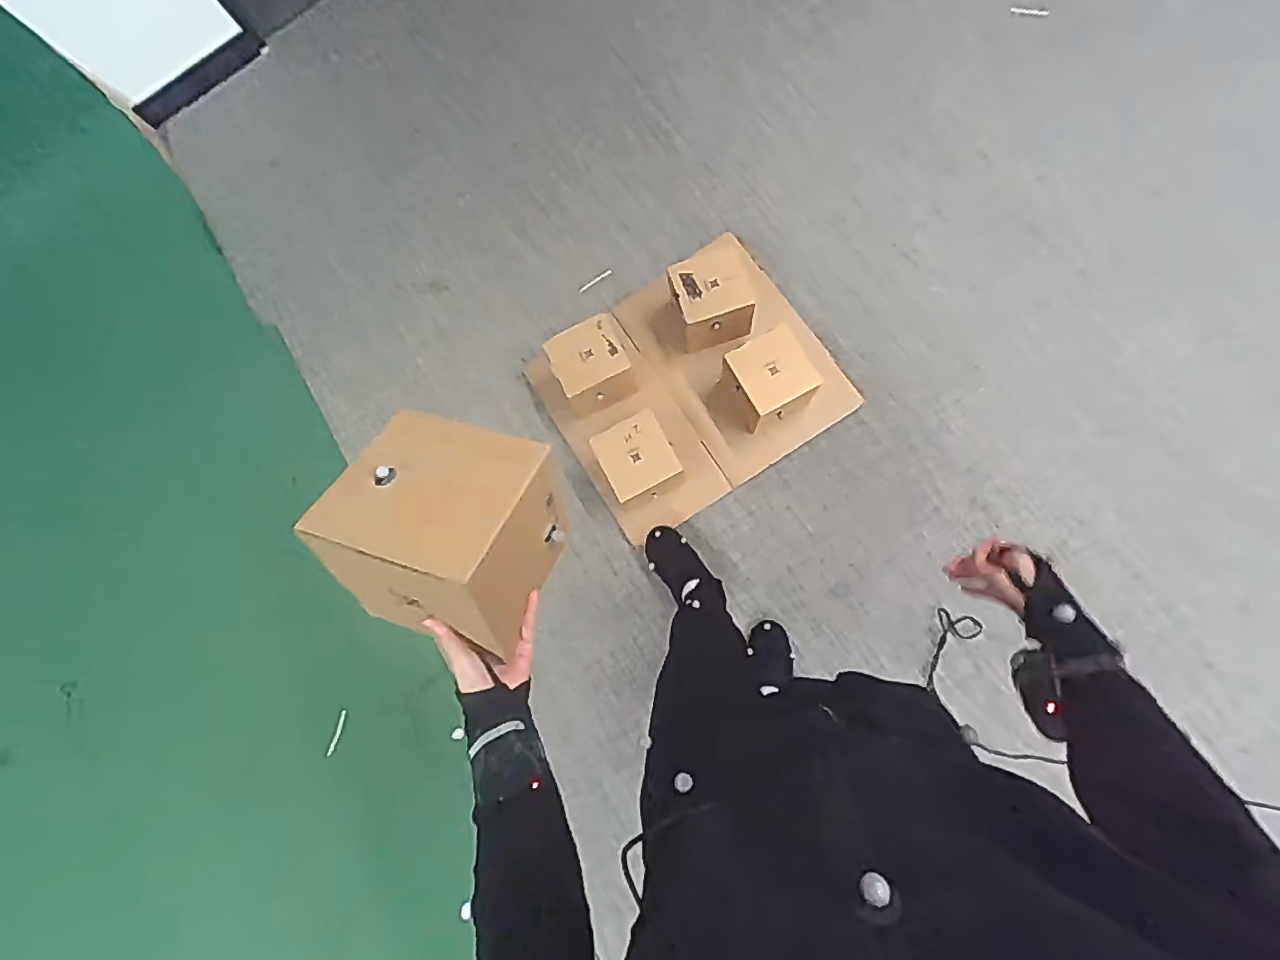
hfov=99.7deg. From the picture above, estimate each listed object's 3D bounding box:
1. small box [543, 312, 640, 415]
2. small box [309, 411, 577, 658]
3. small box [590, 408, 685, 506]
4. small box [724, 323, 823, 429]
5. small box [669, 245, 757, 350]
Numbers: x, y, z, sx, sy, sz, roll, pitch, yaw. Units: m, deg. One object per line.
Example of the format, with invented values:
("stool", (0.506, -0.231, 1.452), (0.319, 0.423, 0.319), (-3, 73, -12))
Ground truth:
("small box", (-0.117, -0.289, 1.384), (0.179, 0.176, 0.168), (-26, 78, 2))
("small box", (-0.184, 0.051, 0.564), (0.179, 0.168, 0.176), (15, 51, 13))
("small box", (0.002, -0.046, 1.324), (0.168, 0.176, 0.179), (-28, 77, 1))
("small box", (0.317, -0.241, 1.317), (0.168, 0.176, 0.179), (-29, 77, 1))
("small box", (0.183, -0.453, 1.371), (0.179, 0.176, 0.168), (-17, 78, 3))
